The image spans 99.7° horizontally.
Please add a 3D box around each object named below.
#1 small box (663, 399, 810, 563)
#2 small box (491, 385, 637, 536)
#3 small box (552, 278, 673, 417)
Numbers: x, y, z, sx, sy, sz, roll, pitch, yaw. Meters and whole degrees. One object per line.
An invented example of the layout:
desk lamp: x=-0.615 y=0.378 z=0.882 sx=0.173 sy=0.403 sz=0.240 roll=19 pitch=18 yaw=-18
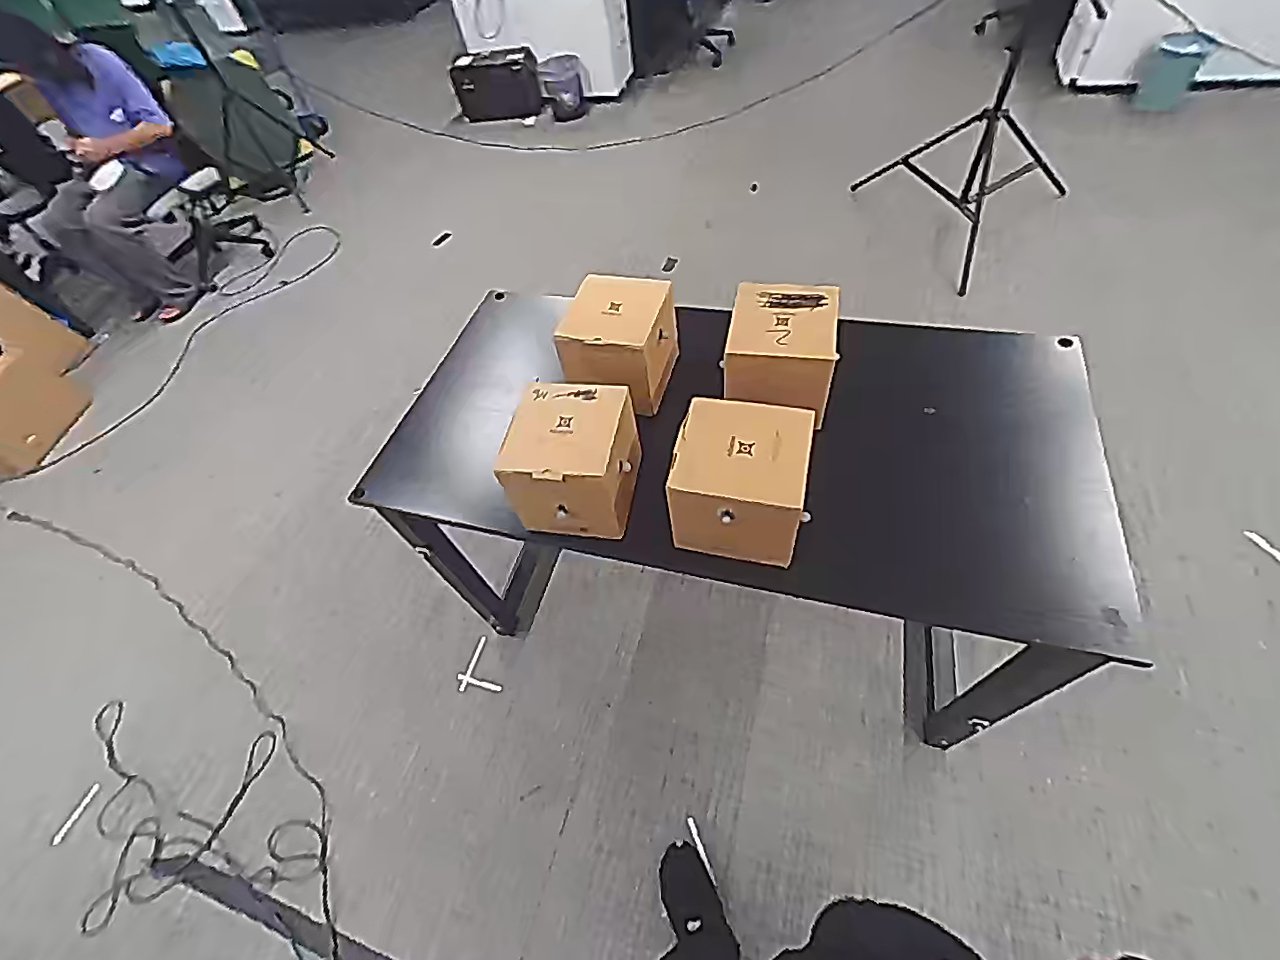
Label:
small box: x=0.142 y=0.005 z=0.793 sx=0.179 sy=0.176 sz=0.168 roll=9 pitch=57 yaw=14
small box: x=-0.106 y=-0.027 z=0.853 sx=0.168 sy=0.176 sz=0.179 roll=4 pitch=56 yaw=12
small box: x=-0.040 y=-0.245 z=1.001 sx=0.168 sy=0.176 sz=0.179 roll=10 pitch=57 yaw=16
